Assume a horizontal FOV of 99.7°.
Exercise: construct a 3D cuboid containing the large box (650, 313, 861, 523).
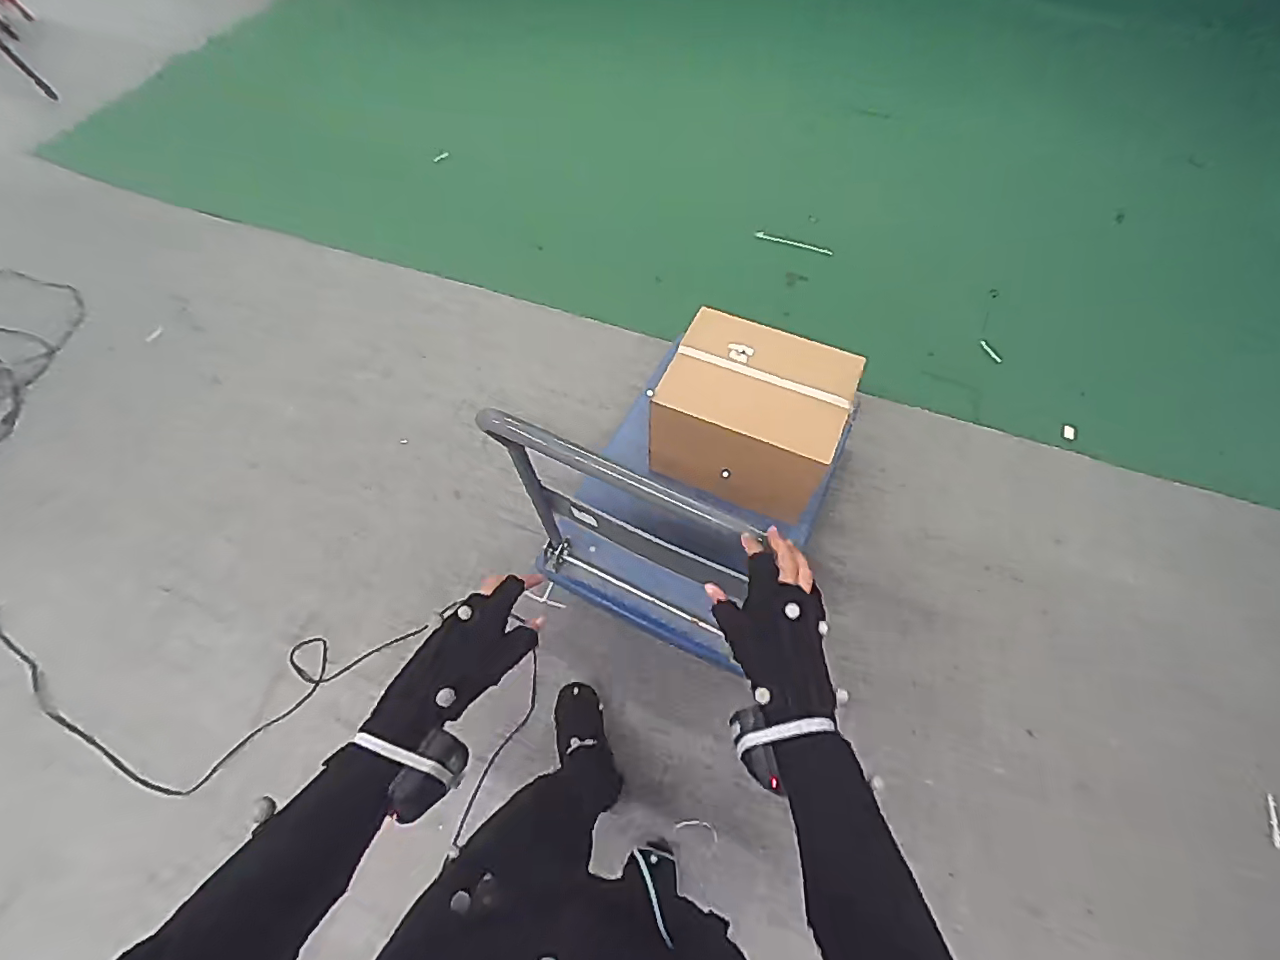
[{"bbox_3d":[0.269,-0.146,1.334,0.408,0.320,0.320,21,63,13],"label":"large box"}]
